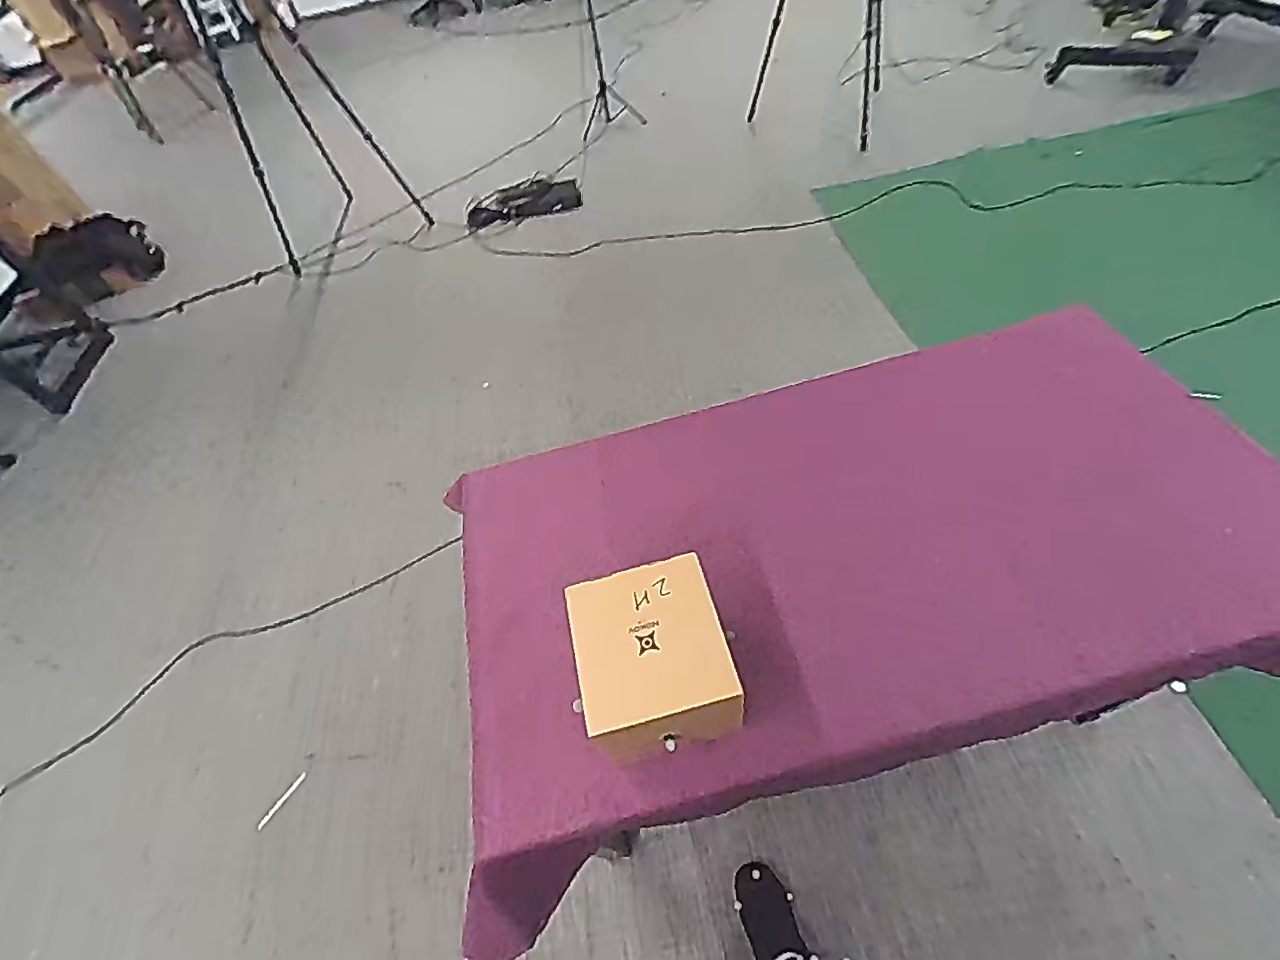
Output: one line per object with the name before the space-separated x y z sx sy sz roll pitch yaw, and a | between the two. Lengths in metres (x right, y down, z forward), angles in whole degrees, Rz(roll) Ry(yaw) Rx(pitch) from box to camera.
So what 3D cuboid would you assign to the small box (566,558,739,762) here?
small box | 0.019 0.227 0.661 0.168 0.176 0.179 -15 51 -2
